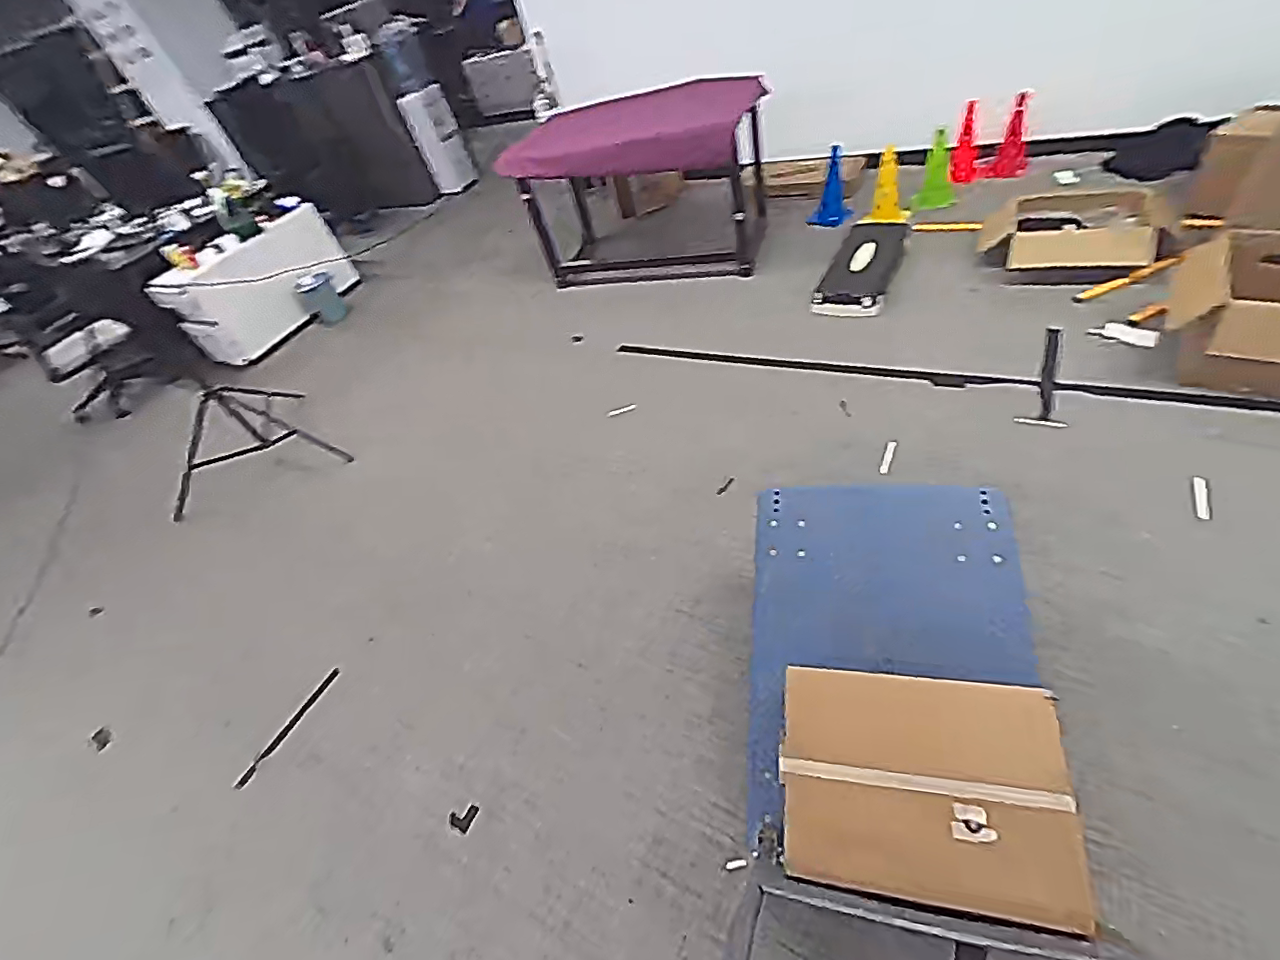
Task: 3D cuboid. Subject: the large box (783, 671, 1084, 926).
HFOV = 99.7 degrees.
[{"bbox_3d":[0.473,0.545,0.985,0.408,0.320,0.320,0,64,16],"label":"large box"}]
